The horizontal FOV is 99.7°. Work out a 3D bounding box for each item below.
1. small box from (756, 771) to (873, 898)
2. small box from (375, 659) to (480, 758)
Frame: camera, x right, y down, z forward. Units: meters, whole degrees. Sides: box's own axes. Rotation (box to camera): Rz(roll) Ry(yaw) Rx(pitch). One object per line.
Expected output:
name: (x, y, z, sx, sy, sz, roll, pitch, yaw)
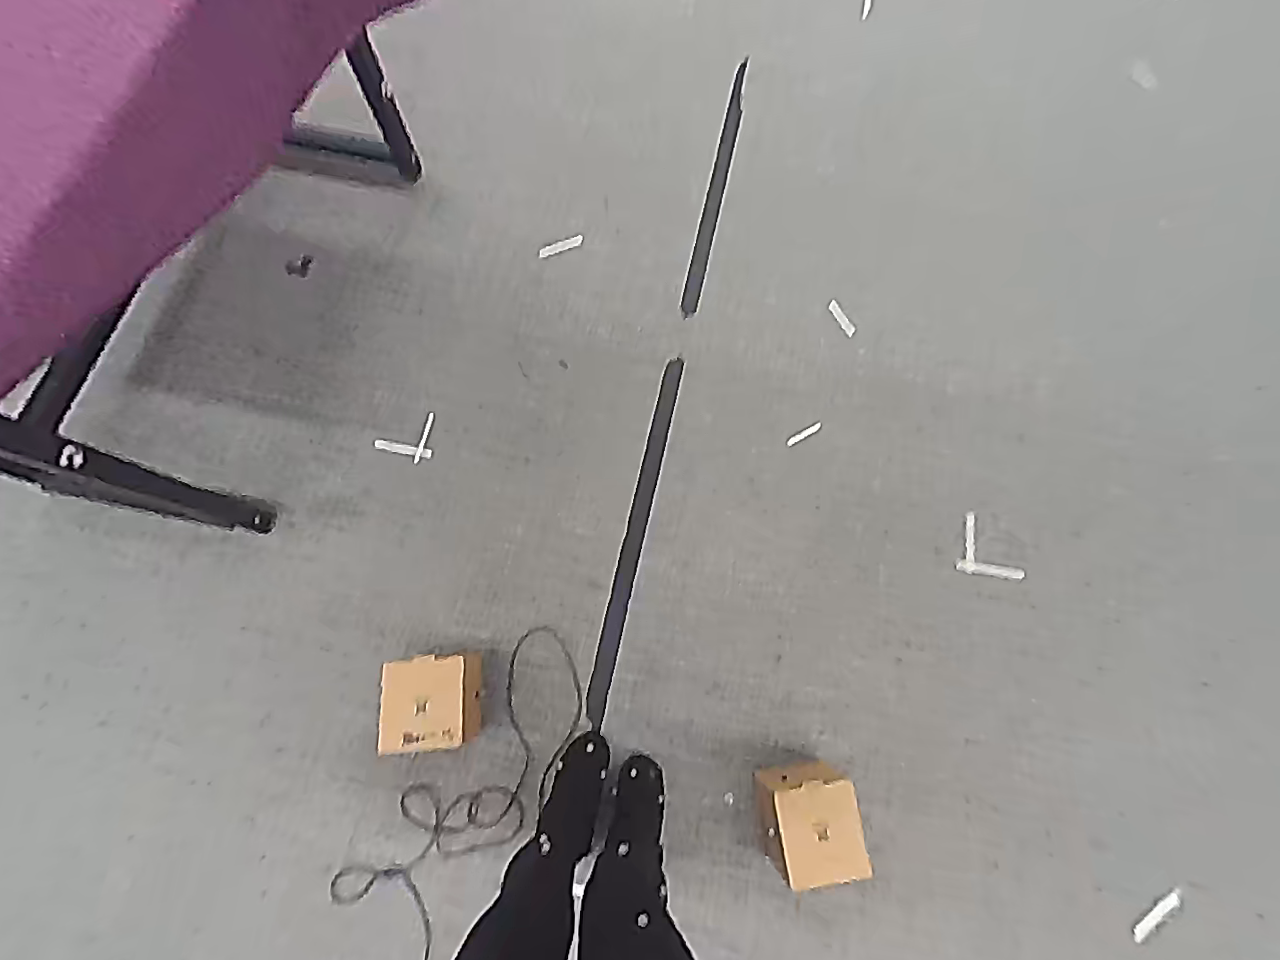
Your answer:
small box: (0.352, 0.723, 1.128, 0.168, 0.176, 0.179, -7, 74, -4)
small box: (-0.448, 0.484, 1.163, 0.168, 0.176, 0.179, -3, 72, -4)
